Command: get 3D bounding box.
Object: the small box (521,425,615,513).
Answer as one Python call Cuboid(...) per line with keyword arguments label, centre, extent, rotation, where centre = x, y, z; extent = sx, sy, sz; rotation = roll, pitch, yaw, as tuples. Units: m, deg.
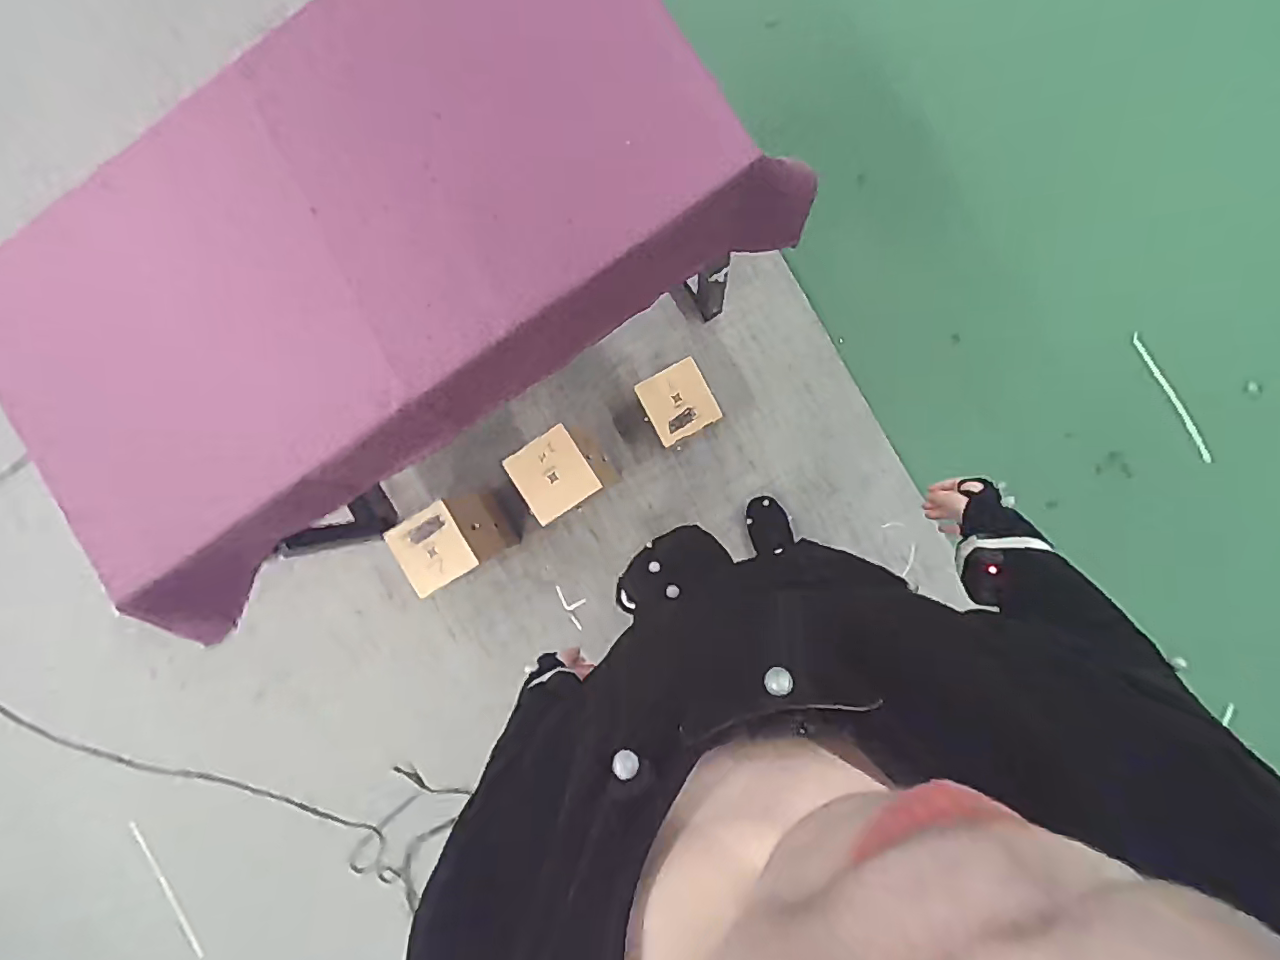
Cuboid(label="small box", centre=(-0.186, -0.026, 1.453), extent=(0.179, 0.176, 0.168), rotation=(-32, 87, 5))
